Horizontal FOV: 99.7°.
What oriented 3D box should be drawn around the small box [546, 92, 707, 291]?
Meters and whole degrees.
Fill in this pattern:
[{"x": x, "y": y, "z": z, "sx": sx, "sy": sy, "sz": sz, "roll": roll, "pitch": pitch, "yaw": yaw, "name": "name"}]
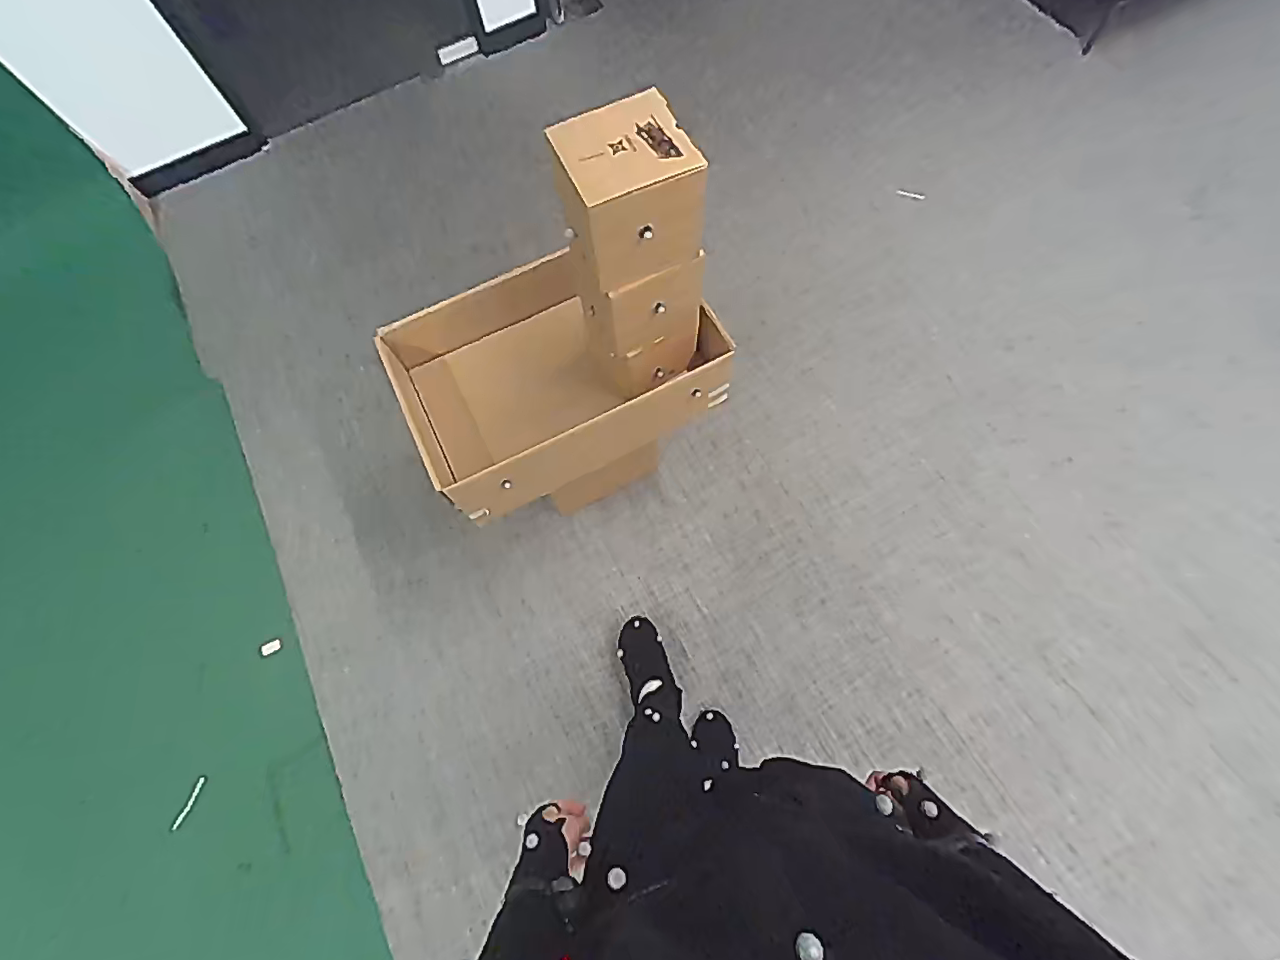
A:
[{"x": -0.018, "y": -0.420, "z": 0.805, "sx": 0.179, "sy": 0.176, "sz": 0.168, "roll": -24, "pitch": 70, "yaw": -5, "name": "small box"}]
